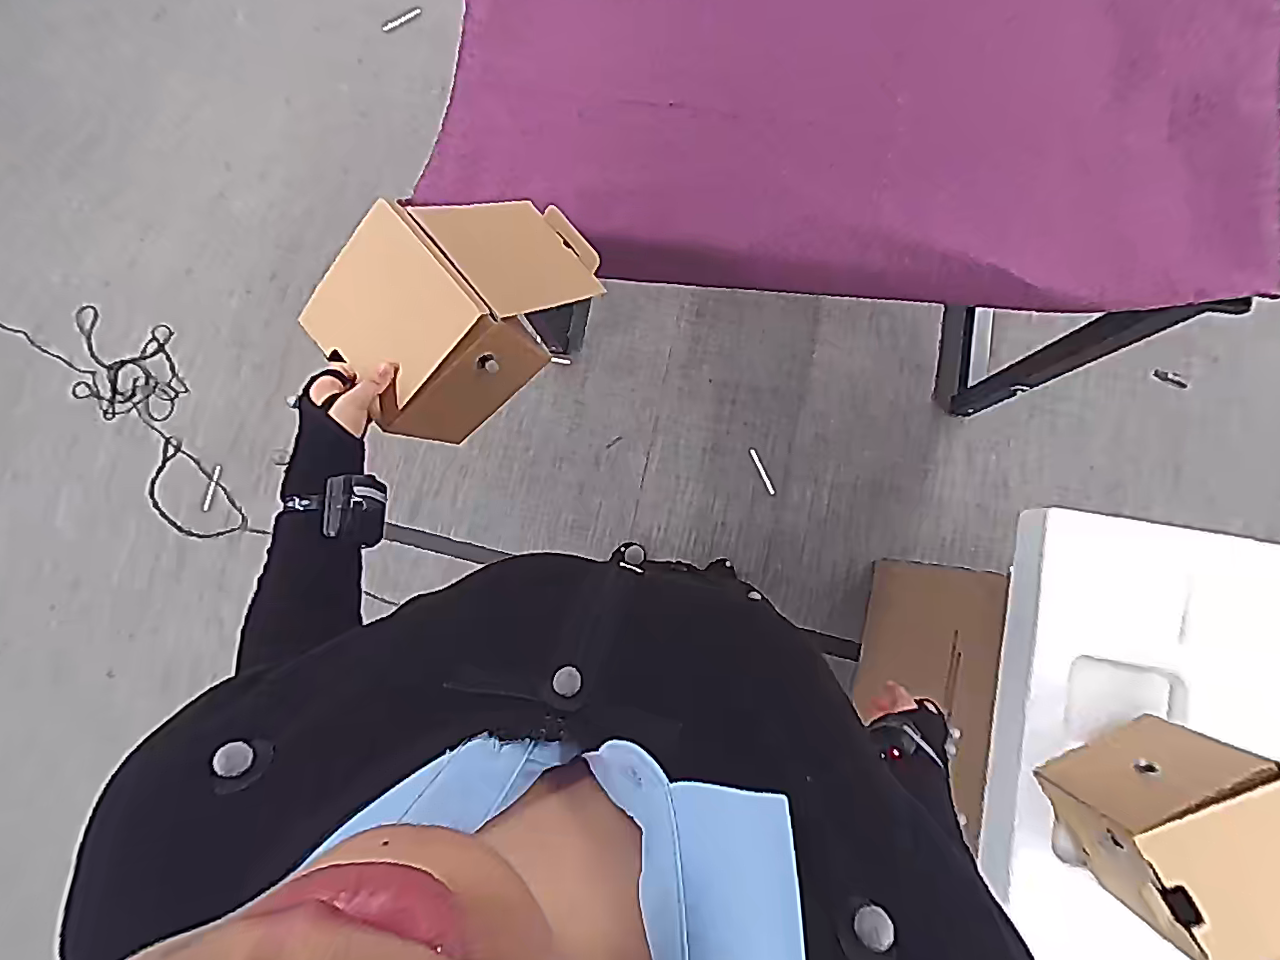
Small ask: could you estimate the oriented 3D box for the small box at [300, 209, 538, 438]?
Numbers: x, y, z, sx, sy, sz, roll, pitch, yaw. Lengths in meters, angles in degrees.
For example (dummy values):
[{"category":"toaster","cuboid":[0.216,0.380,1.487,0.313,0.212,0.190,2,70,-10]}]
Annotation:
[{"category":"small box","cuboid":[-0.244,-0.171,0.650,0.179,0.176,0.168,-40,82,6]}]
